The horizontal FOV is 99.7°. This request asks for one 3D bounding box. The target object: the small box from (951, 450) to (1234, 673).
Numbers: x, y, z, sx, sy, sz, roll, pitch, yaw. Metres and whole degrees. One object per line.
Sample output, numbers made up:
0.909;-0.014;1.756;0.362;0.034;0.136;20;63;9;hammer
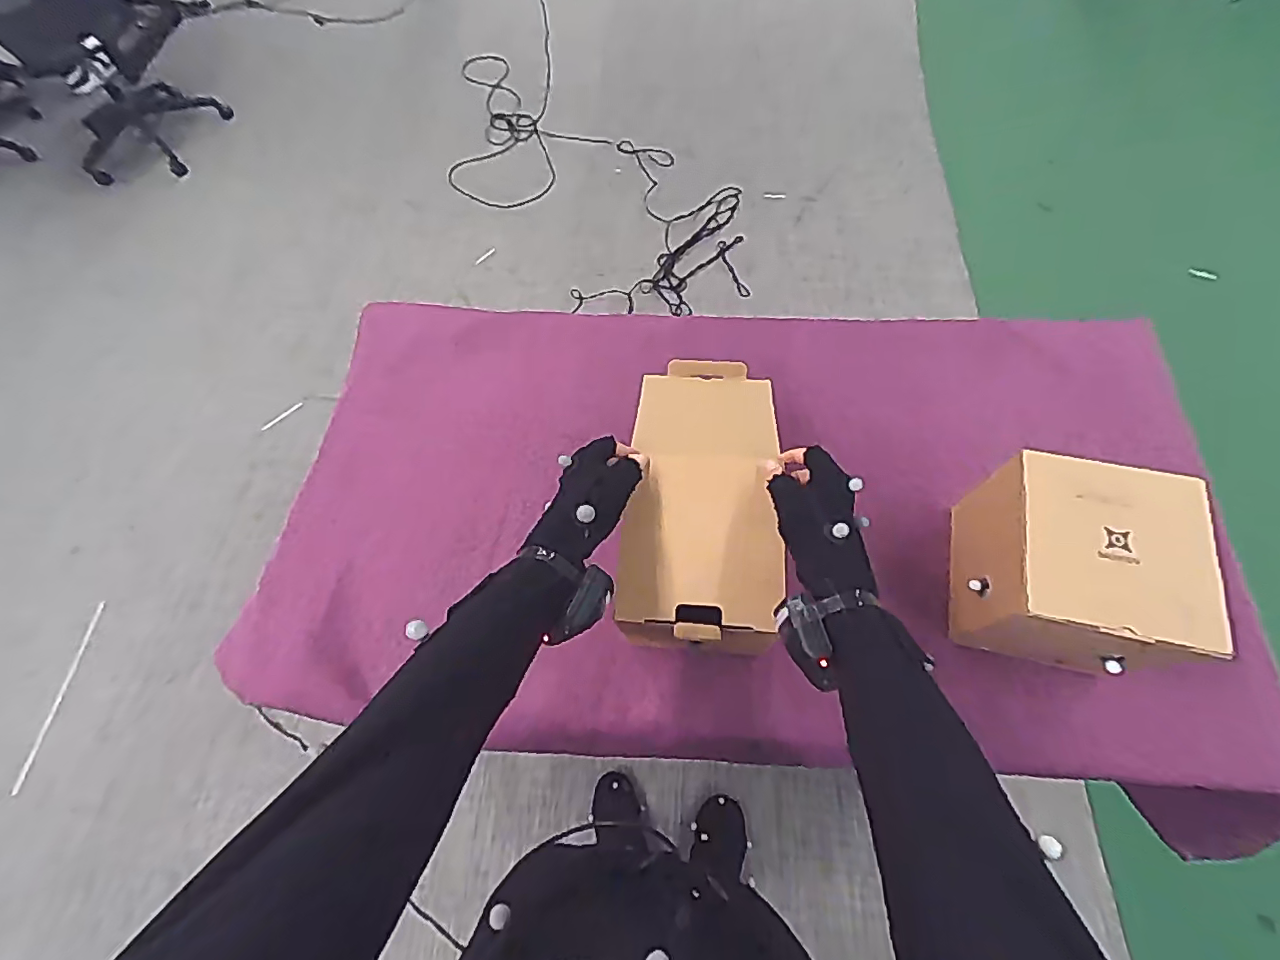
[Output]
0.455;0.095;0.578;0.168;0.176;0.179;12;66;11;small box
